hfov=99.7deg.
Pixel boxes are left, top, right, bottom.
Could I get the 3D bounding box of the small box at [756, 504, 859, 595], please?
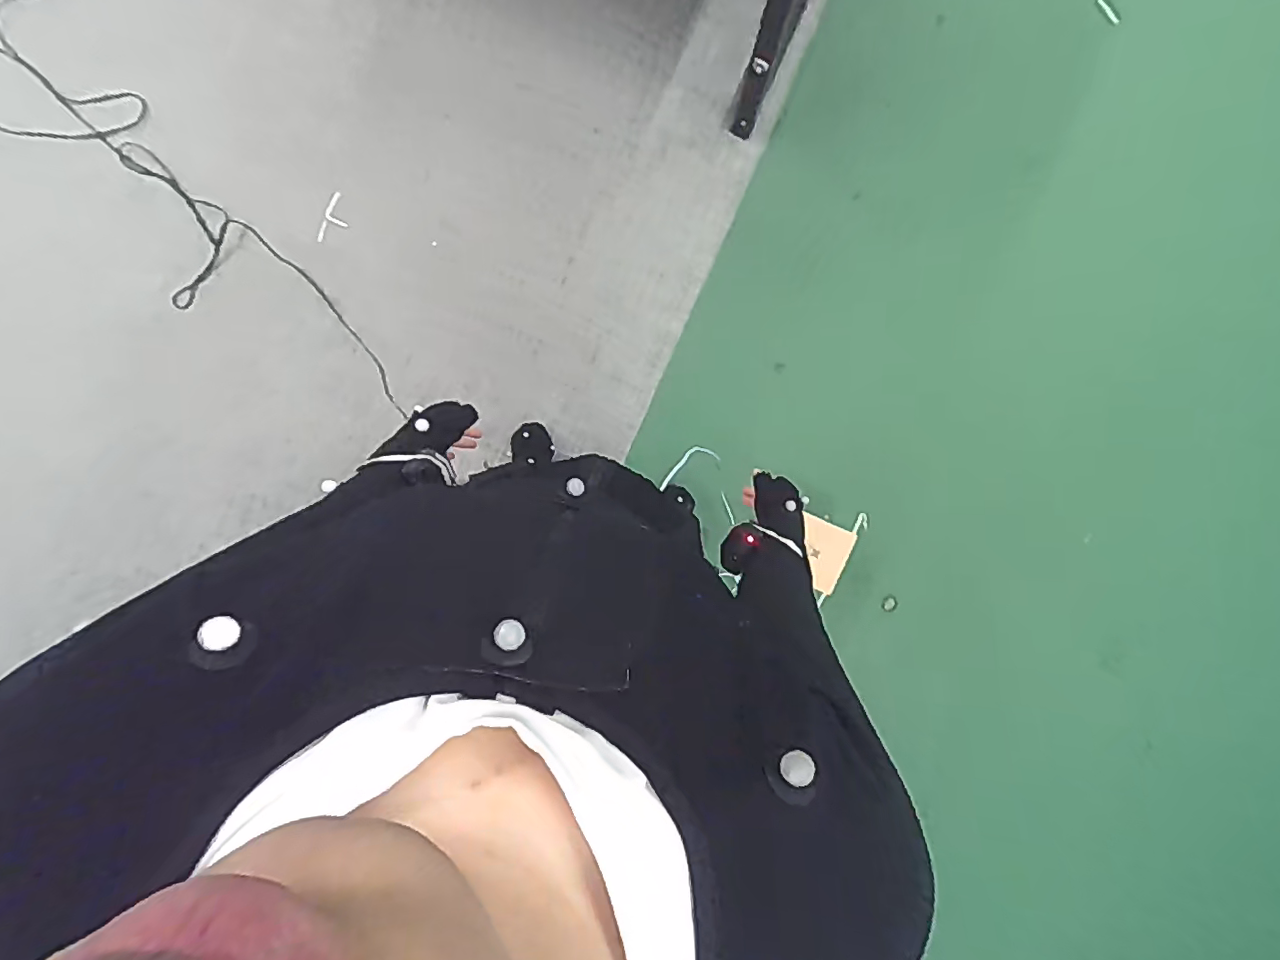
[{"bbox_3d":[0.424,0.170,1.399,0.179,0.176,0.168,25,93,-1],"label":"small box"}]
